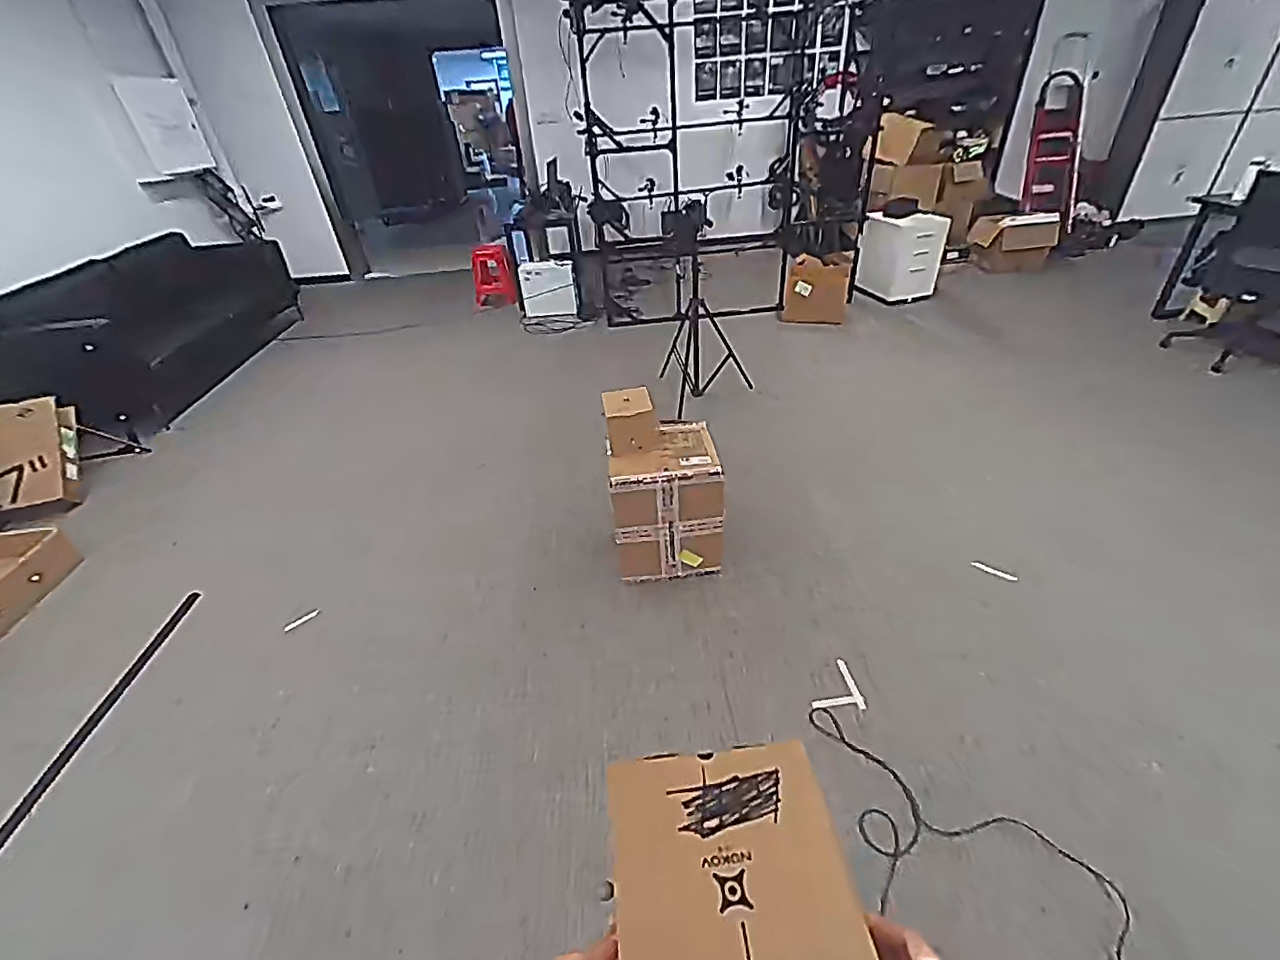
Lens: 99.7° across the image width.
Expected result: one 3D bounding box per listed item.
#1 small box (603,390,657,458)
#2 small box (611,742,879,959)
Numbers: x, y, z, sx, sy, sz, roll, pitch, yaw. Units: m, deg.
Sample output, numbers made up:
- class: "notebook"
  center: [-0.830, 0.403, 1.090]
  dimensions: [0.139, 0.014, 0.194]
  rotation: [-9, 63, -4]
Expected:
- class: "small box"
  center: [-0.038, -0.203, 1.955]
  dimensions: [0.168, 0.176, 0.179]
  rotation: [-10, 39, -3]
- class: "small box"
  center: [0.064, 0.339, 0.425]
  dimensions: [0.168, 0.176, 0.179]
  rotation: [-4, 39, -5]
